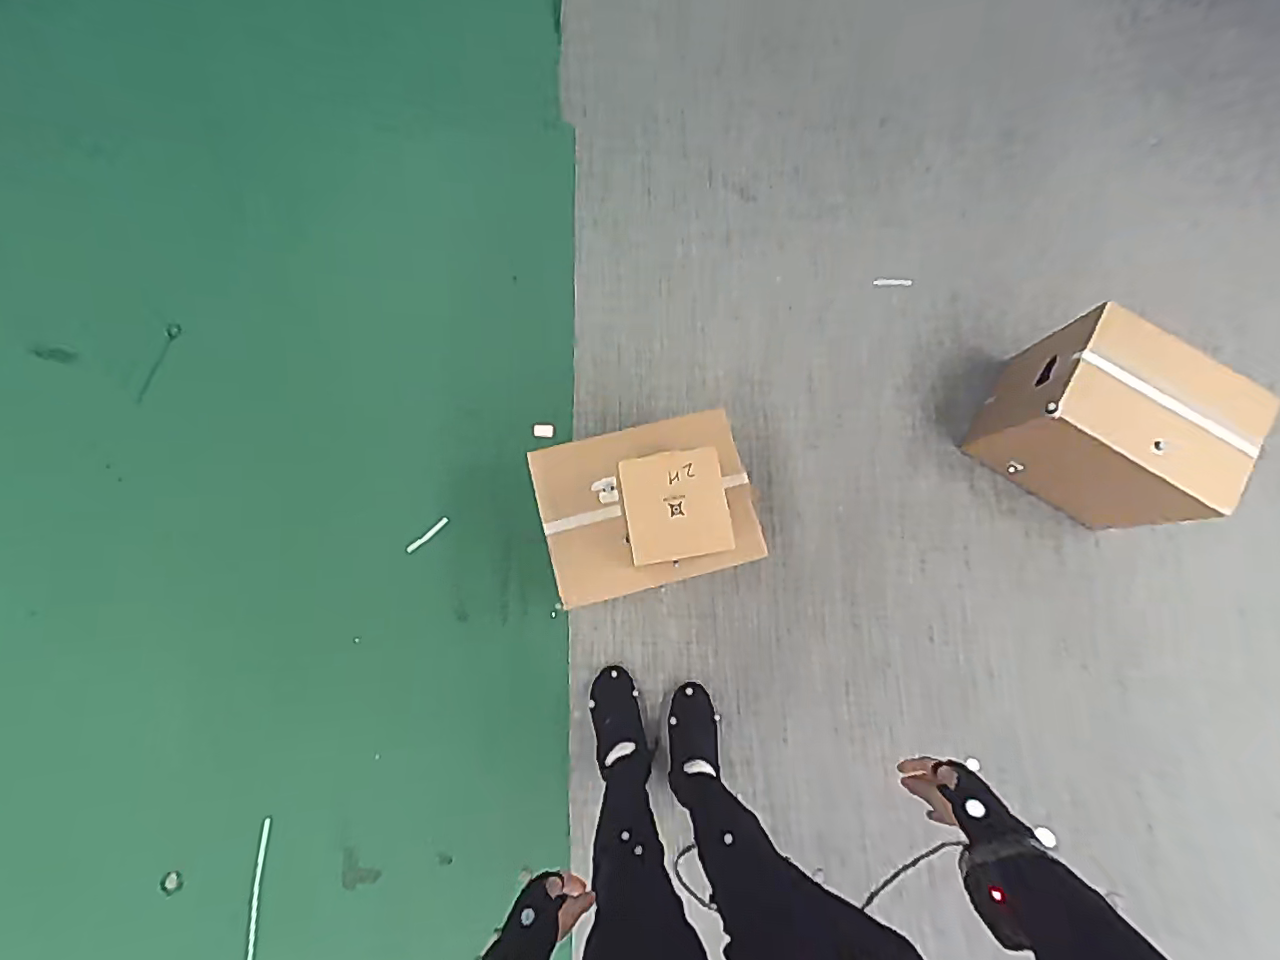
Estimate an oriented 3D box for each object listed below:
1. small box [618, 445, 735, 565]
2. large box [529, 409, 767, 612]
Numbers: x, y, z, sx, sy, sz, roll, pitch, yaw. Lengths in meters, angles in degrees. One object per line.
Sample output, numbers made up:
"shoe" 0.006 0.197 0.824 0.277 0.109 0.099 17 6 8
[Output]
"small box" 0.055 0.051 0.938 0.168 0.176 0.179 -8 79 -6
"large box" 0.010 0.078 1.183 0.408 0.320 0.320 -14 78 -5
